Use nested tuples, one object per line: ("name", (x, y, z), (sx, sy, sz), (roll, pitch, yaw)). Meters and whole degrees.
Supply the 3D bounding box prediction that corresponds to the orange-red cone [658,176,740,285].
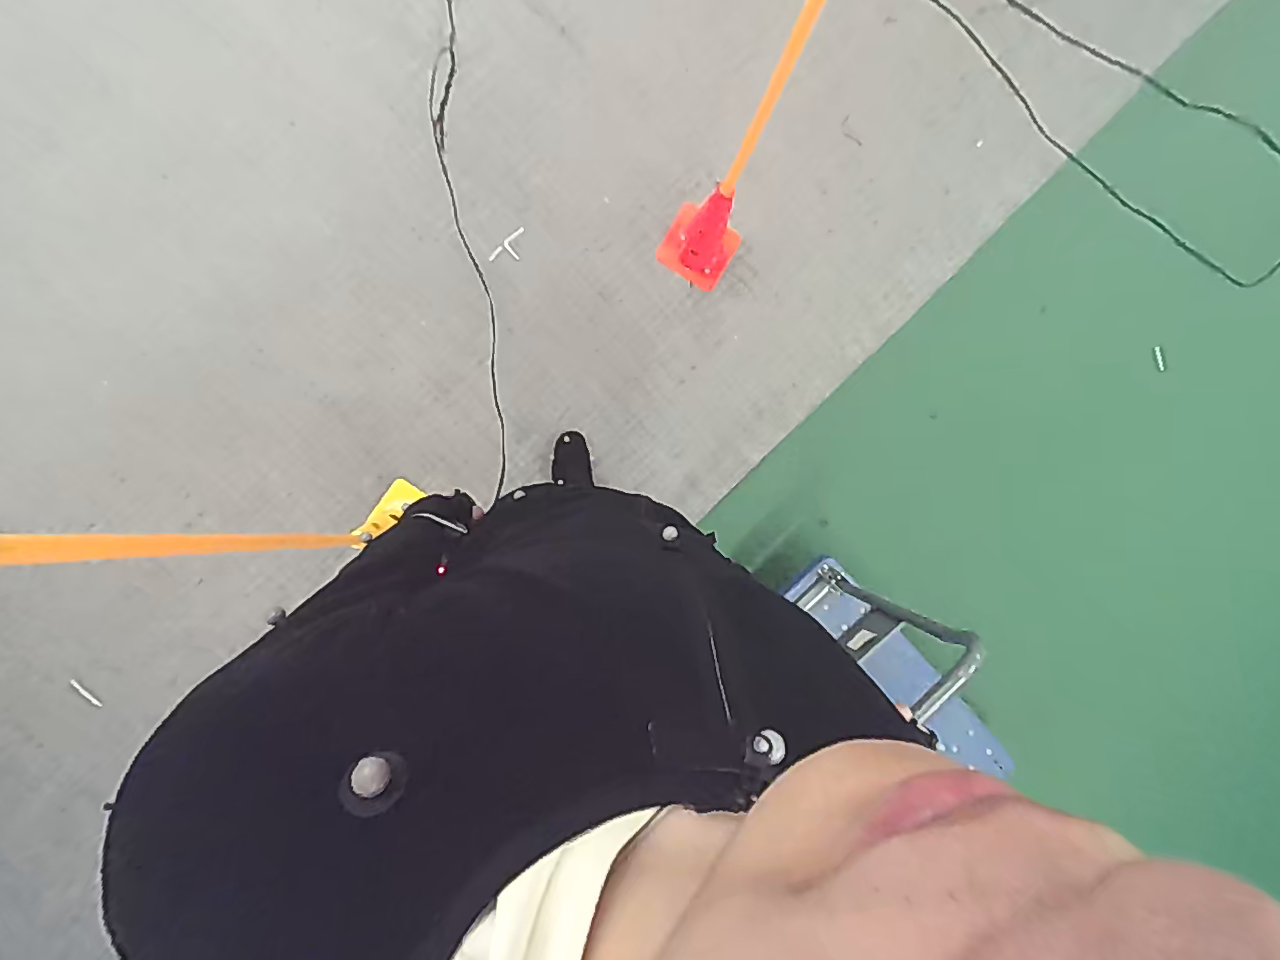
("orange-red cone", (0.192, -0.702, 1.440), (0.198, 0.360, 0.199), (32, 88, -6))
